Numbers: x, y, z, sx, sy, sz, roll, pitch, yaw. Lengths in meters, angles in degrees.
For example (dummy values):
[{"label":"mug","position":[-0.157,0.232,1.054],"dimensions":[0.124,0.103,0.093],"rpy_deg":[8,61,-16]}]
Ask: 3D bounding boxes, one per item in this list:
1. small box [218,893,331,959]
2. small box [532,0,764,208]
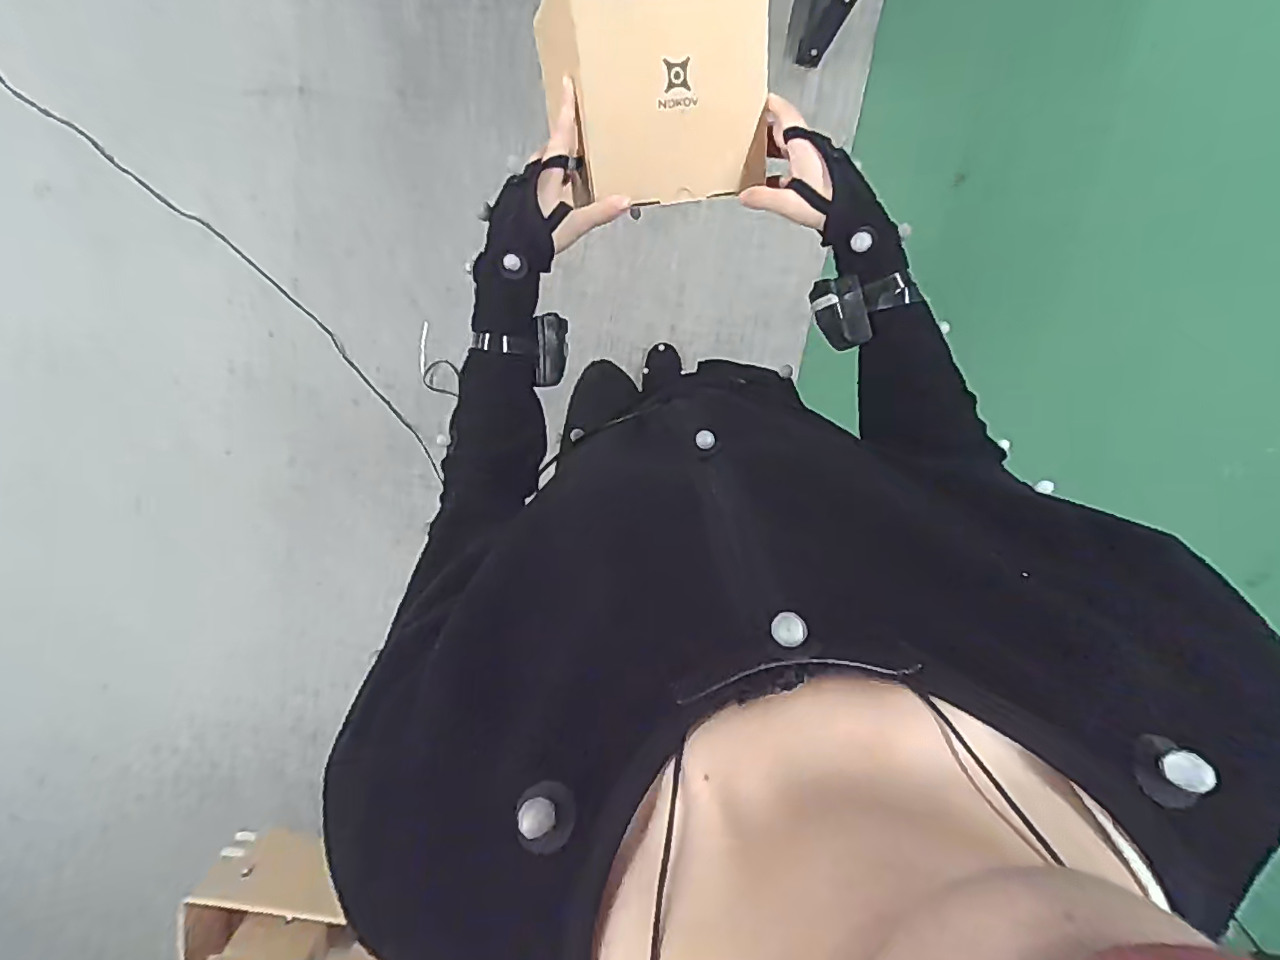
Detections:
[{"label":"small box","position":[-0.824,1.078,1.207],"dimensions":[0.168,0.176,0.179],"rpy_deg":[16,101,-3]},{"label":"small box","position":[0.002,-0.361,0.504],"dimensions":[0.168,0.176,0.179],"rpy_deg":[-13,118,-12]}]
